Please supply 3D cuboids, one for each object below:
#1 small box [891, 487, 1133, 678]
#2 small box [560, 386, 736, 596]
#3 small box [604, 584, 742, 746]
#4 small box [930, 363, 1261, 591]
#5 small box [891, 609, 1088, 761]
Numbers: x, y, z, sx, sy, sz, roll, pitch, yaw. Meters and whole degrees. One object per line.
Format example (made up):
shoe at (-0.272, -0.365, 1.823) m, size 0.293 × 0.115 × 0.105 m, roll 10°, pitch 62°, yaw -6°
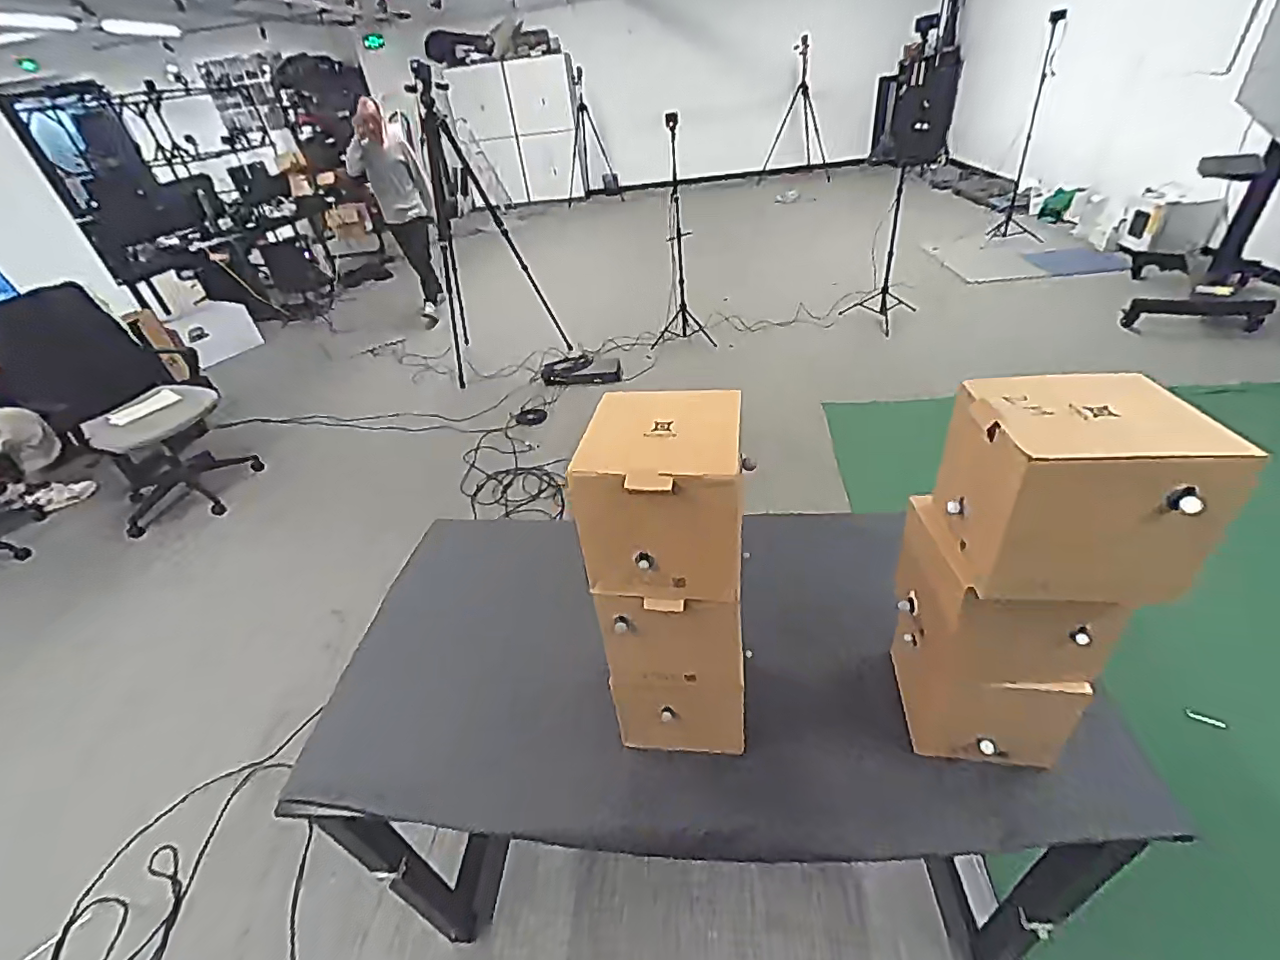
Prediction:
small box at (0.427, 0.120, 0.655) m, size 0.179 × 0.176 × 0.168 m, roll -5°, pitch 33°, yaw 7°
small box at (0.022, 0.006, 0.613) m, size 0.168 × 0.176 × 0.179 m, roll 1°, pitch 36°, yaw 11°
small box at (0.058, 0.272, 0.801) m, size 0.179 × 0.176 × 0.168 m, roll -2°, pitch 36°, yaw 9°
small box at (0.419, -0.004, 0.543) m, size 0.179 × 0.176 × 0.168 m, roll -2°, pitch 33°, yaw 10°
small box at (0.457, 0.251, 0.745) m, size 0.168 × 0.176 × 0.179 m, roll 0°, pitch 36°, yaw 12°
